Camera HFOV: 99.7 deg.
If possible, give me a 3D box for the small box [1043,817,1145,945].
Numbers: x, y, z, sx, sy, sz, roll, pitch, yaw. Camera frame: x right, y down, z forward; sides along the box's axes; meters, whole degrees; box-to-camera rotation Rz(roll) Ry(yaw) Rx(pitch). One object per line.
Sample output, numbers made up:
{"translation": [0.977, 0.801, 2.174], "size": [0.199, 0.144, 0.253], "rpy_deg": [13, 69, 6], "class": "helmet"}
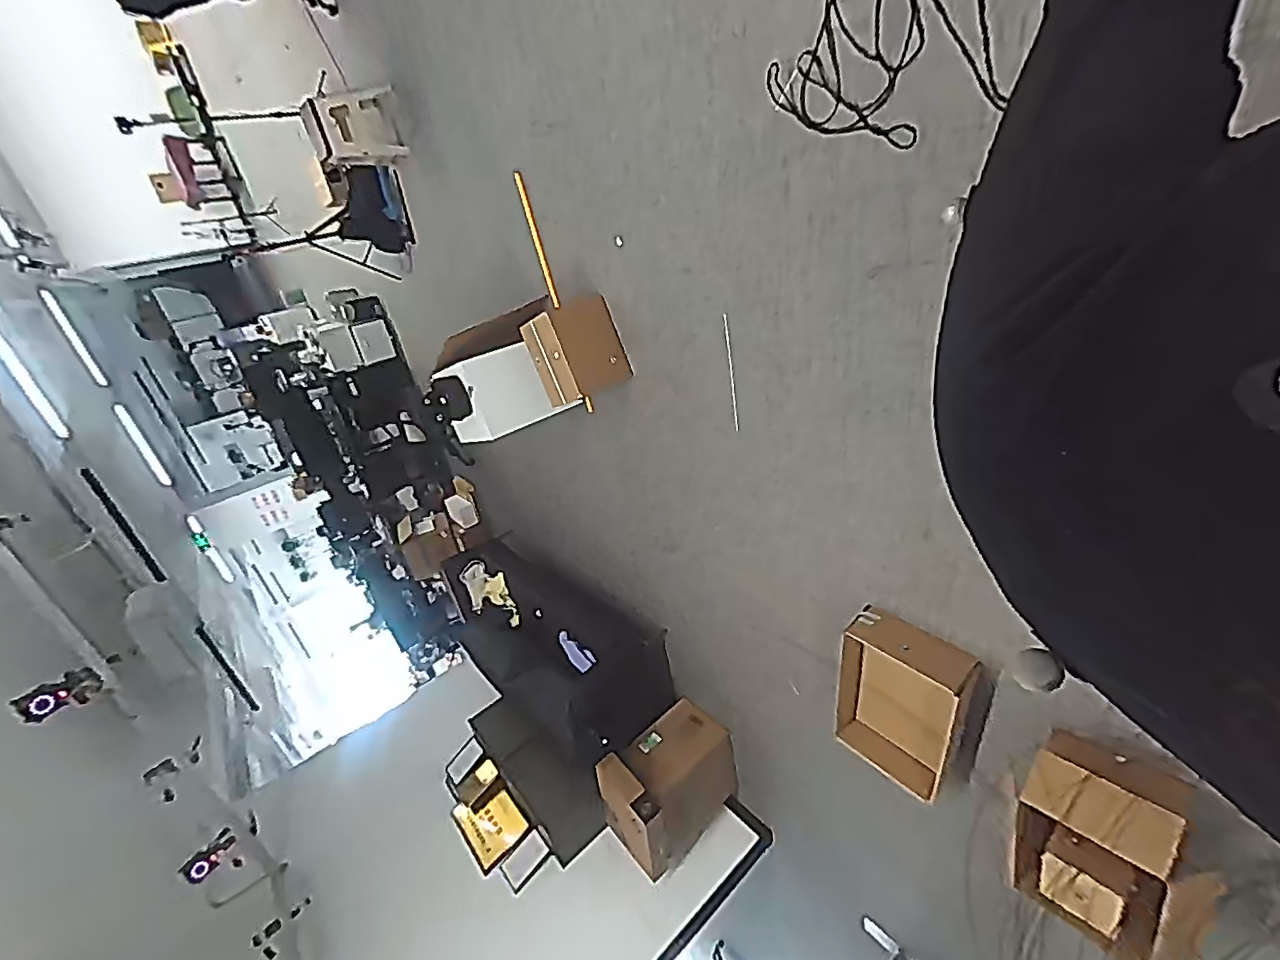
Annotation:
{"translation": [1.202, 1.050, 1.433], "size": [0.168, 0.176, 0.179], "rpy_deg": [16, 125, 51], "class": "small box"}
